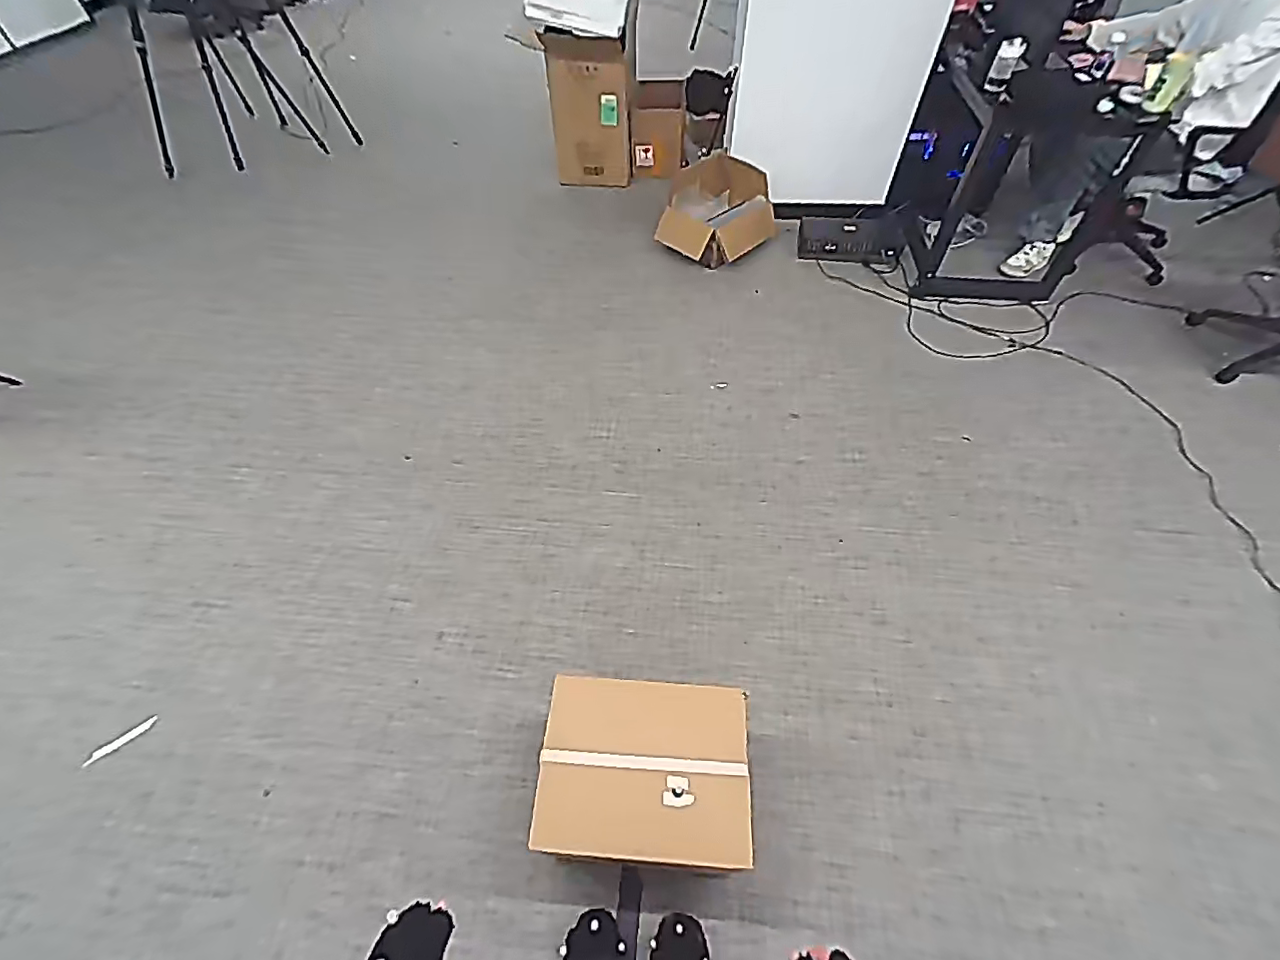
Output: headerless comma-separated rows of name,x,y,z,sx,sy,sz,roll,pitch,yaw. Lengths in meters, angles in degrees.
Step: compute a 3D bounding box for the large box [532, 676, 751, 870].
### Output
large box,0.007,0.640,1.172,0.408,0.320,0.320,4,53,2
